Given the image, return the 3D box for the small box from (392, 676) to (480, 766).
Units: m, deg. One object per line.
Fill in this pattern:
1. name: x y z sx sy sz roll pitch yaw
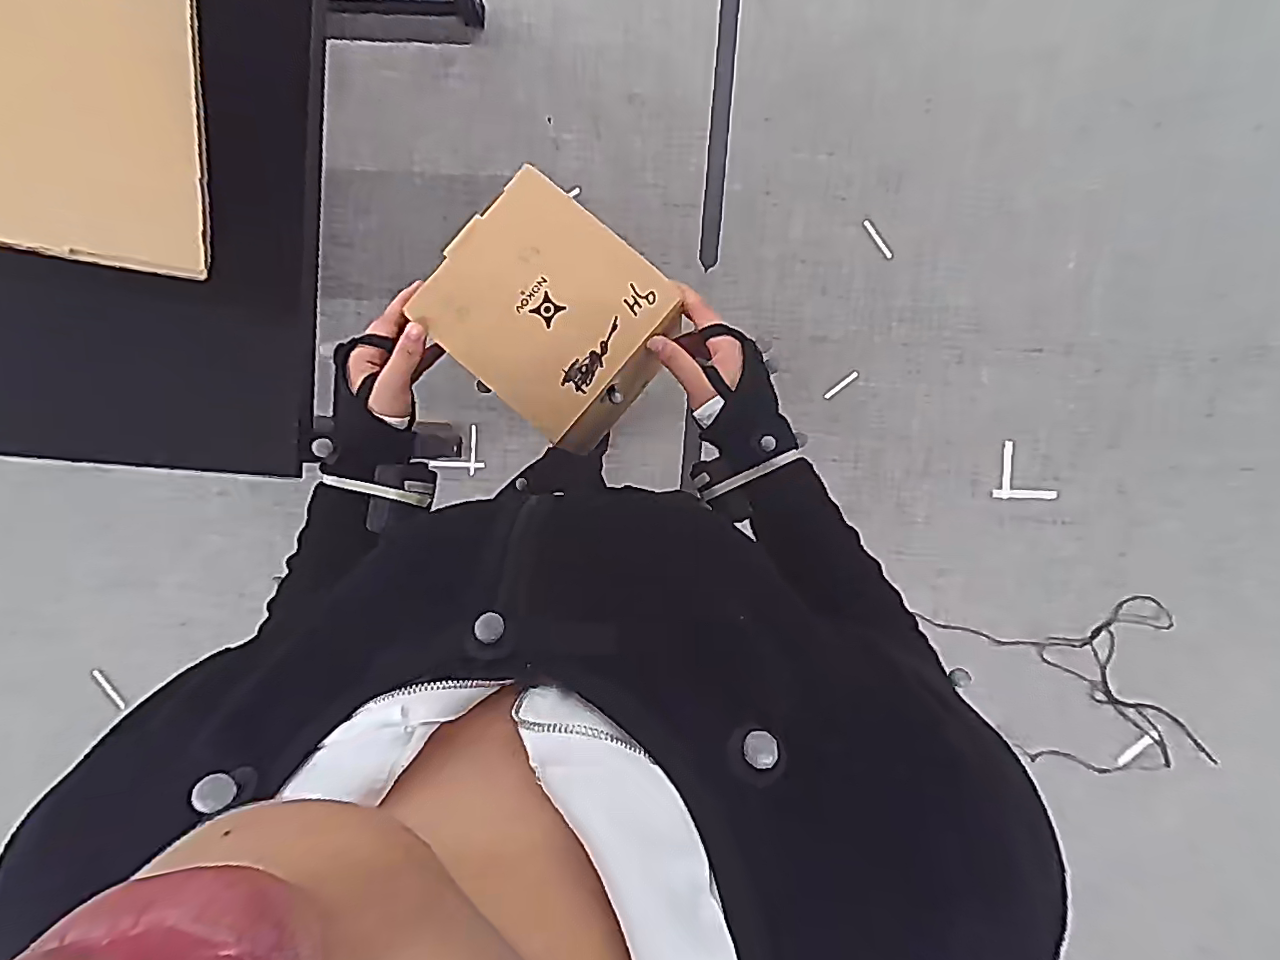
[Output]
1. small box: -0.539 0.637 1.442 0.179 0.176 0.168 0 93 0

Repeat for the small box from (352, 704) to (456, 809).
1. small box: -0.547 0.647 1.280 0.179 0.176 0.168 -3 92 2
